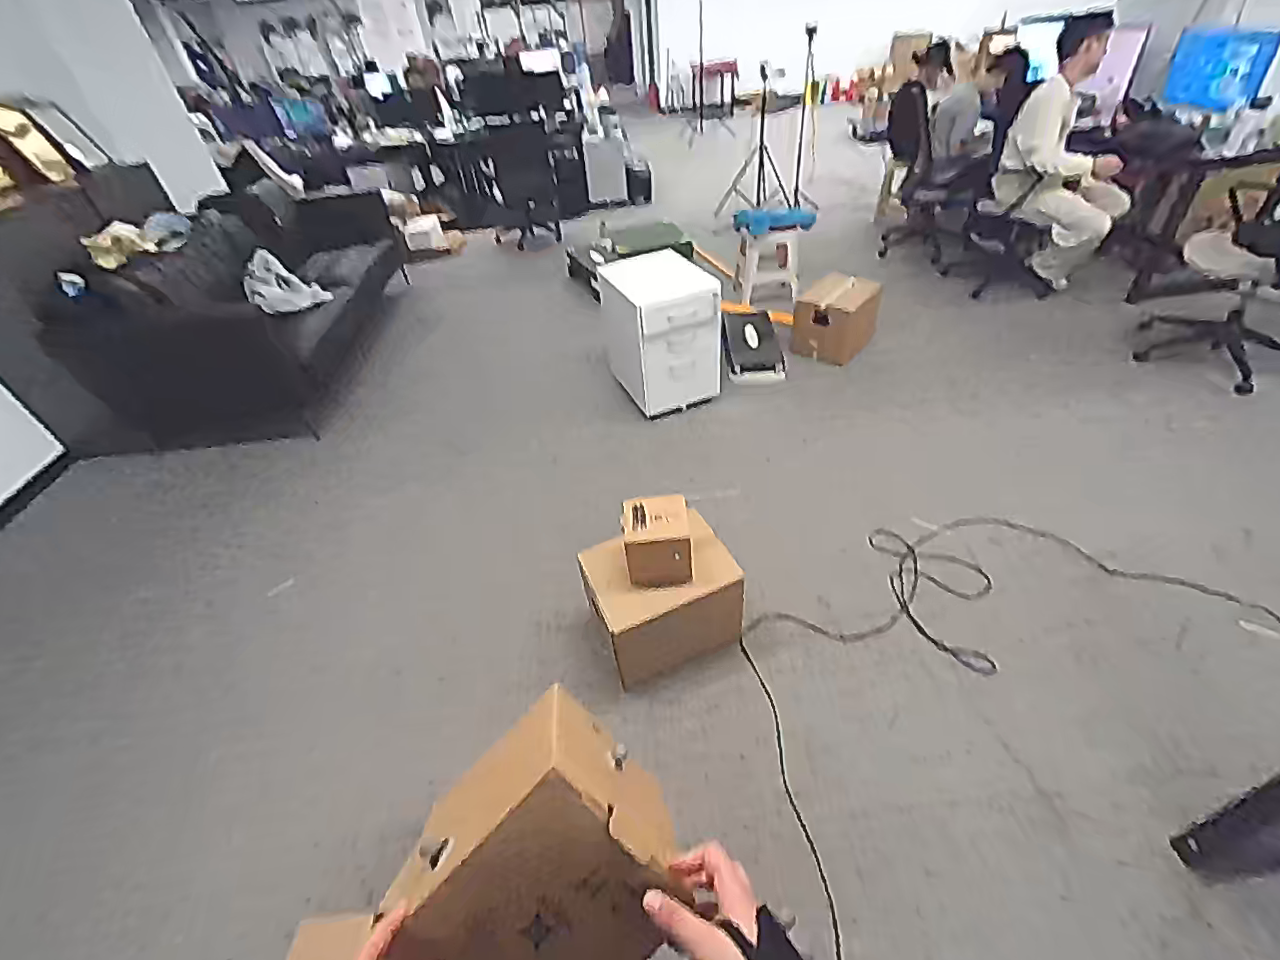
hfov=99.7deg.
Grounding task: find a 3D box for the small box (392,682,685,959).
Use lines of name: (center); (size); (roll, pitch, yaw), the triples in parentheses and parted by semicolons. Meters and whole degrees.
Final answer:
small box: (-0.086, 0.331, 0.508); (0.179, 0.168, 0.176); (-44, 7, -6)
